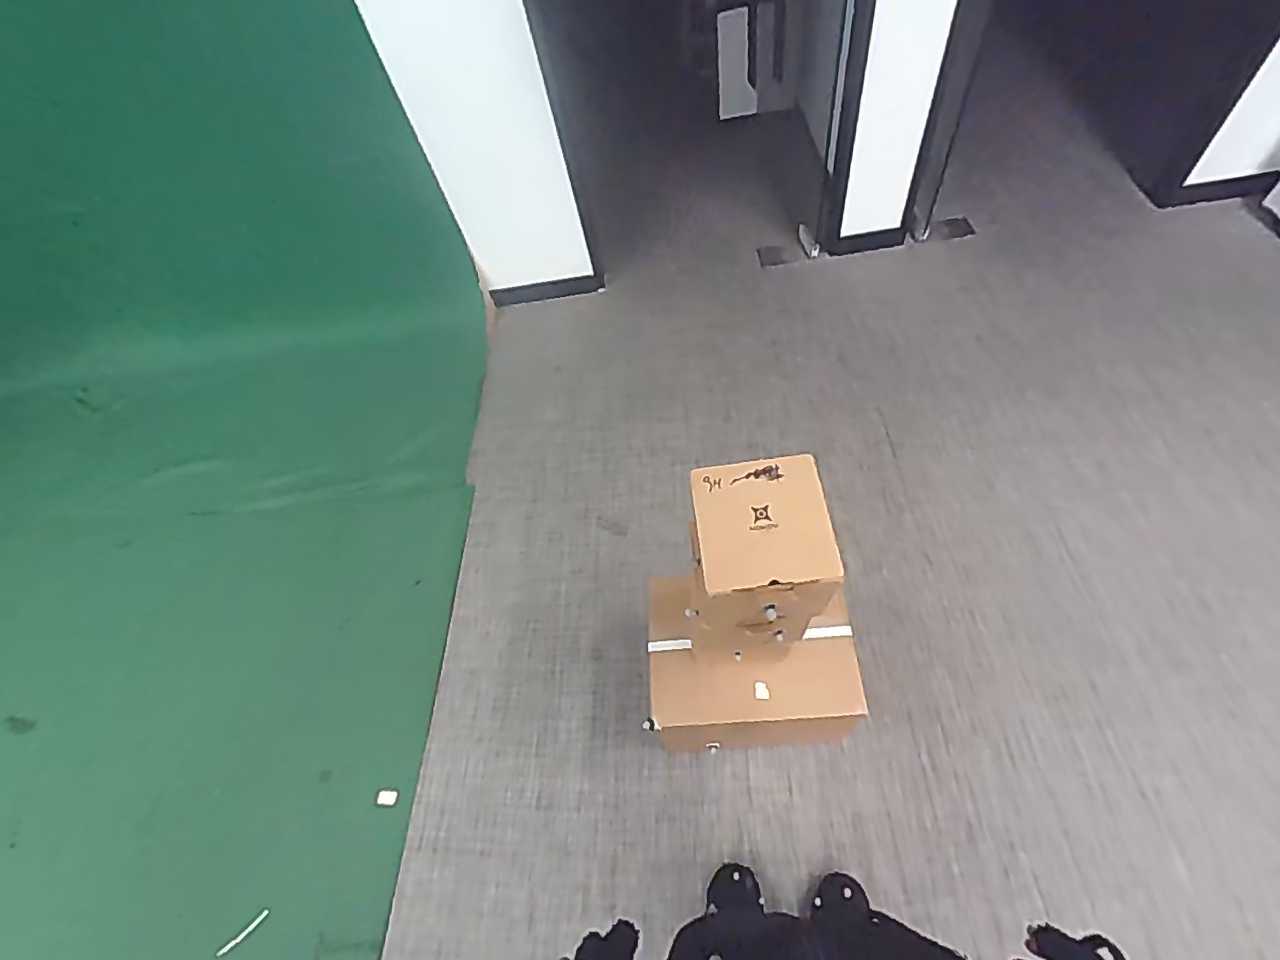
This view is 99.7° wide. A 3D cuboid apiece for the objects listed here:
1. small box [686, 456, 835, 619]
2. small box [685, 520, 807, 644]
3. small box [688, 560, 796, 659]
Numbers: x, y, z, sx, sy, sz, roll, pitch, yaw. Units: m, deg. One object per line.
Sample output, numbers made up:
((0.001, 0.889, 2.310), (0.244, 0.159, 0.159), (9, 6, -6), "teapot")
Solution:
((0.160, 0.090, 0.758), (0.168, 0.176, 0.179), (-8, 62, 5), "small box")
((0.172, 0.168, 0.902), (0.168, 0.176, 0.179), (-8, 60, 5), "small box")
((0.190, 0.246, 1.043), (0.179, 0.176, 0.168), (-6, 62, 6), "small box")
